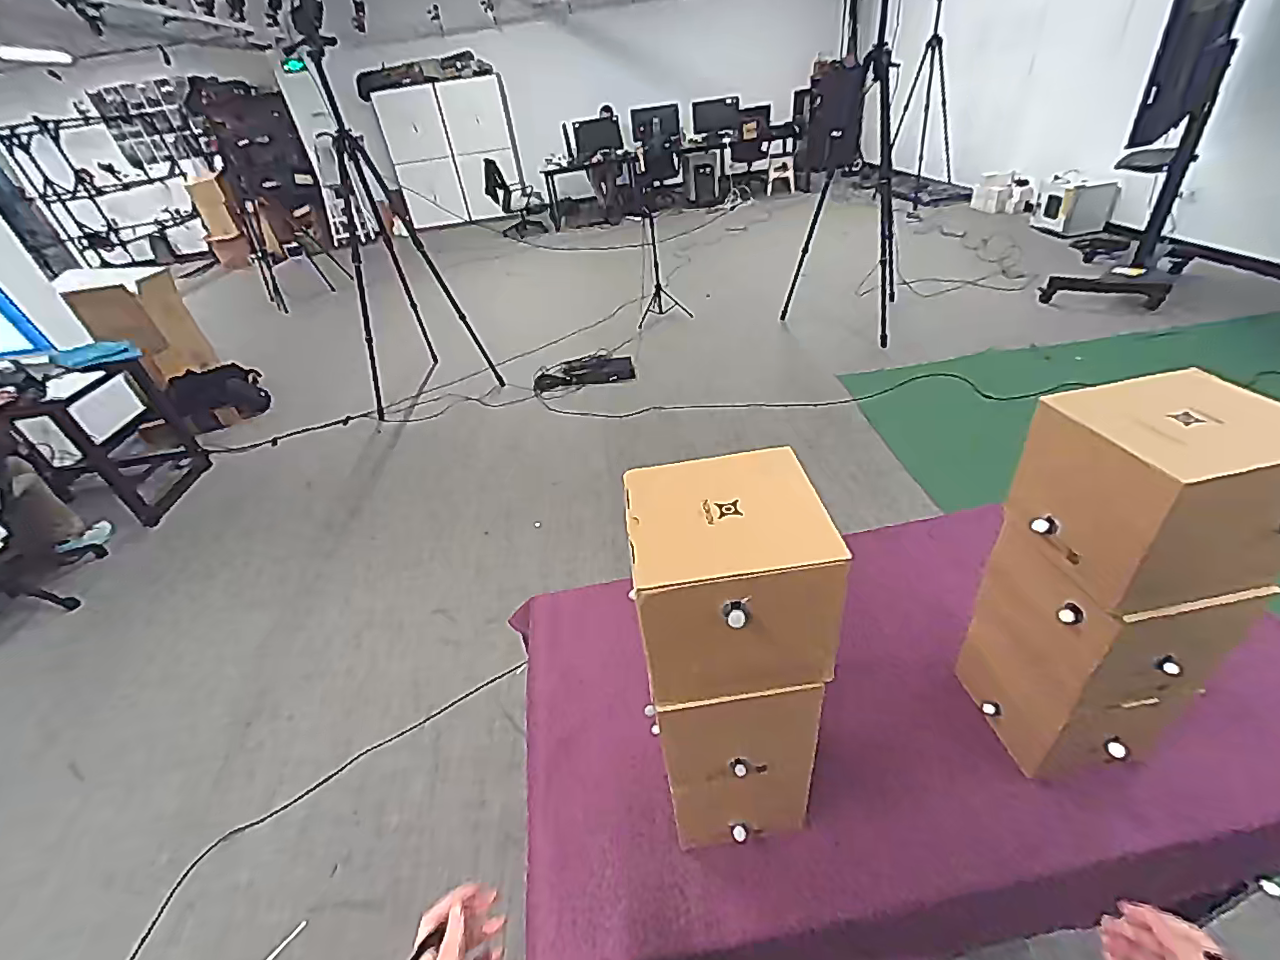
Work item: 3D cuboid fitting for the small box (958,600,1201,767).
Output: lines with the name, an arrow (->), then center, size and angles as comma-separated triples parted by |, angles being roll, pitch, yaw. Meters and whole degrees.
small box -> 0.578, 0.271, 0.745 | 0.168, 0.176, 0.179 | -10, 37, -2

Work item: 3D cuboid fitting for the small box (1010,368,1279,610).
small box -> 0.529, 0.008, 0.554 | 0.179, 0.176, 0.168 | -11, 35, -1

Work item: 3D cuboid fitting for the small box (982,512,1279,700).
small box -> 0.554, 0.140, 0.647 | 0.168, 0.176, 0.179 | -10, 36, -2

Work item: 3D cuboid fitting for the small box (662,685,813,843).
small box -> 0.119, 0.353, 0.731 | 0.168, 0.176, 0.179 | -9, 37, 0

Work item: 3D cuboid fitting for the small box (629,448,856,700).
small box -> 0.089, 0.092, 0.535 | 0.179, 0.176, 0.168 | -9, 37, 1
